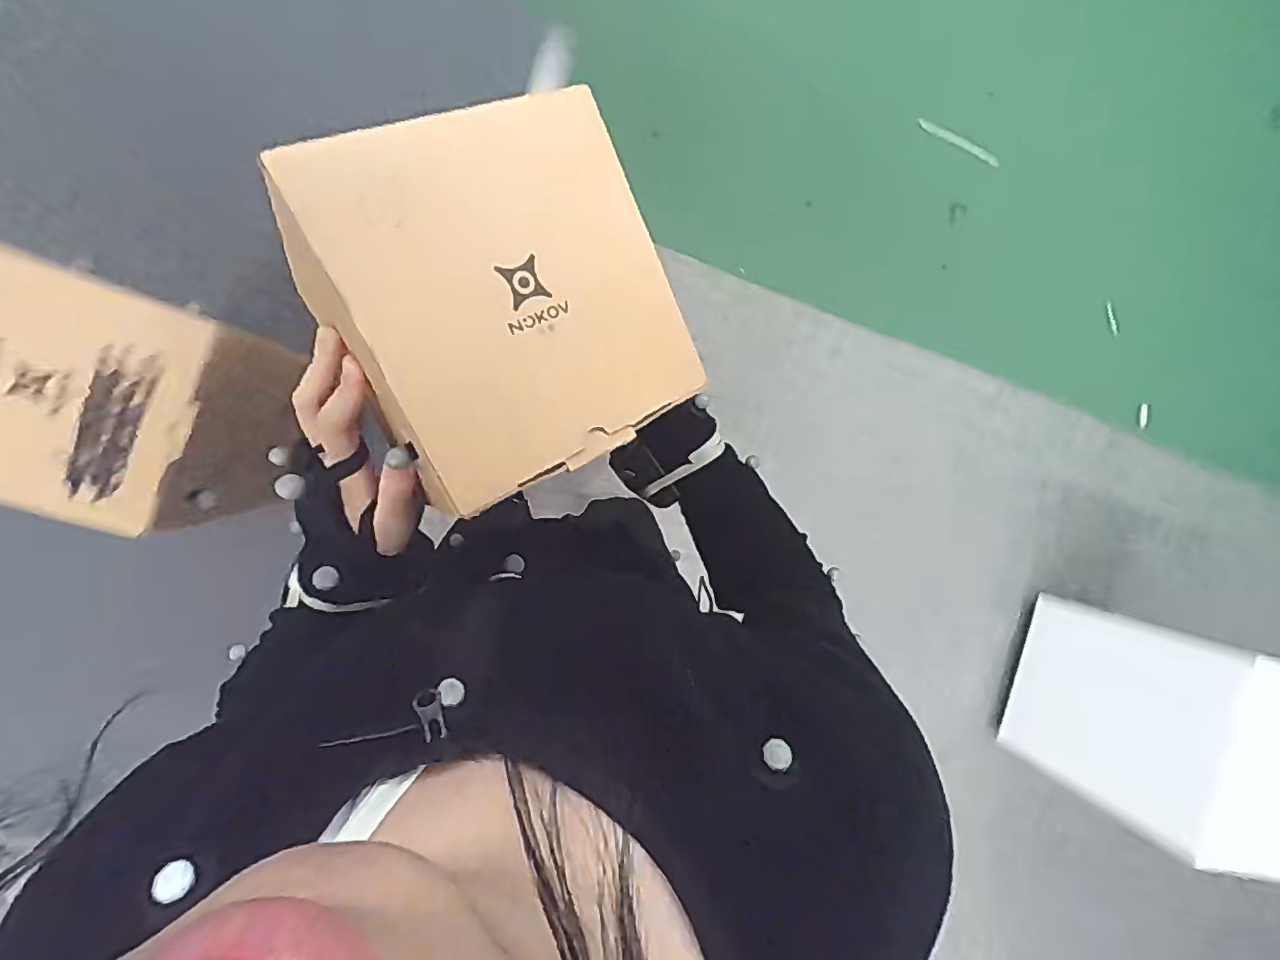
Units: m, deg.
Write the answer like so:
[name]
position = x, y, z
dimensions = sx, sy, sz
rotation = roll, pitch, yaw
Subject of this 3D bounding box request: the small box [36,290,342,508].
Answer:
[small box]
position = -0.466, -0.077, 0.594
dimensions = 0.179, 0.176, 0.168
rotation = 19, 89, -12
